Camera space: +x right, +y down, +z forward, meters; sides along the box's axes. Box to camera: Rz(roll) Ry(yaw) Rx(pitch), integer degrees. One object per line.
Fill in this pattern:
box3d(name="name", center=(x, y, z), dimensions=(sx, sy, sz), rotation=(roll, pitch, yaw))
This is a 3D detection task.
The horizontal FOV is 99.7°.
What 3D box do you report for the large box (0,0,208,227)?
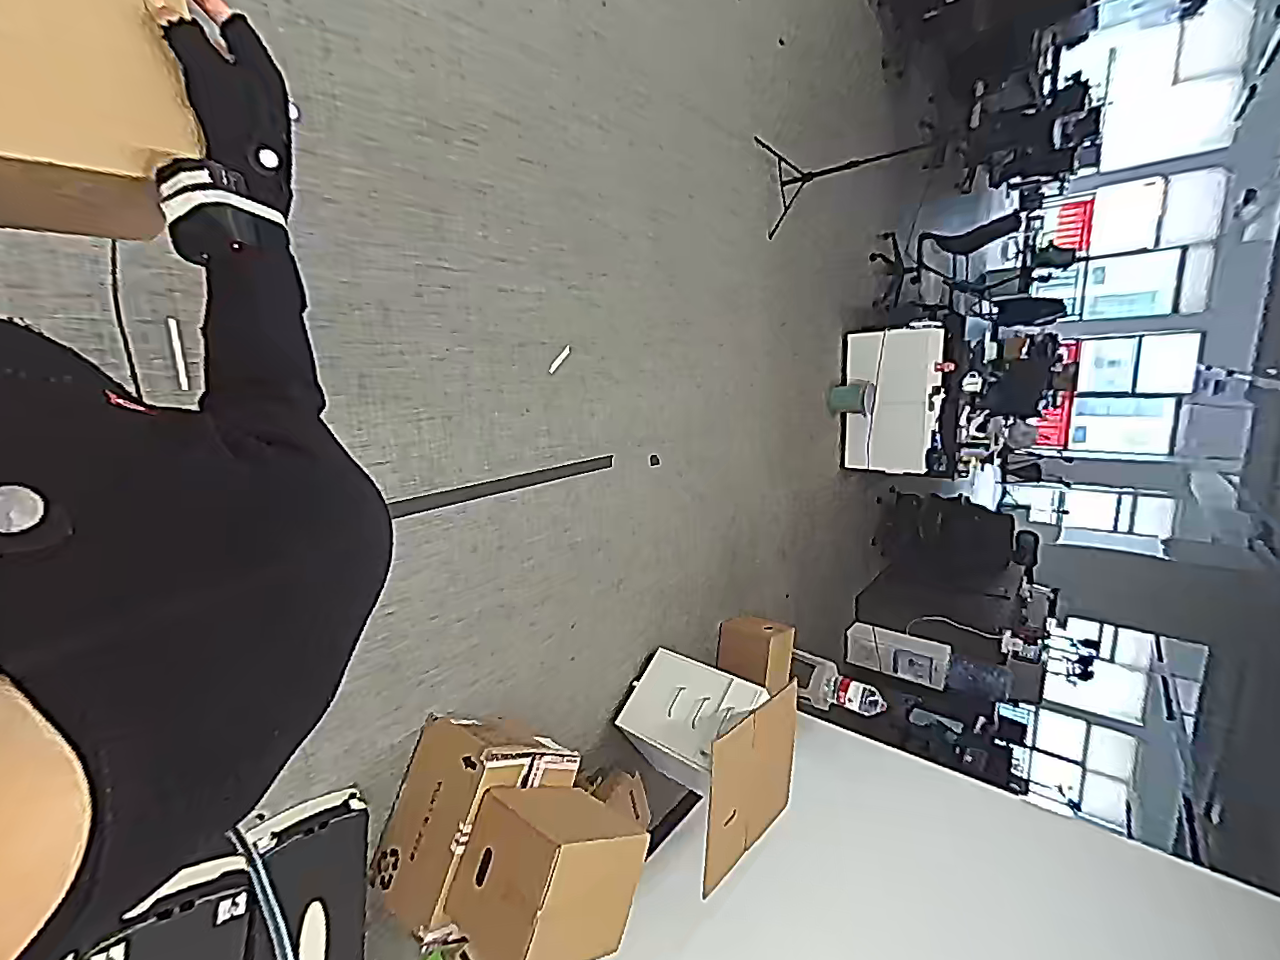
box3d(name="large box", center=(-0.607, -0.379, 0.362), dimensions=(0.408, 0.320, 0.320), rotation=(-18, 113, -48))
